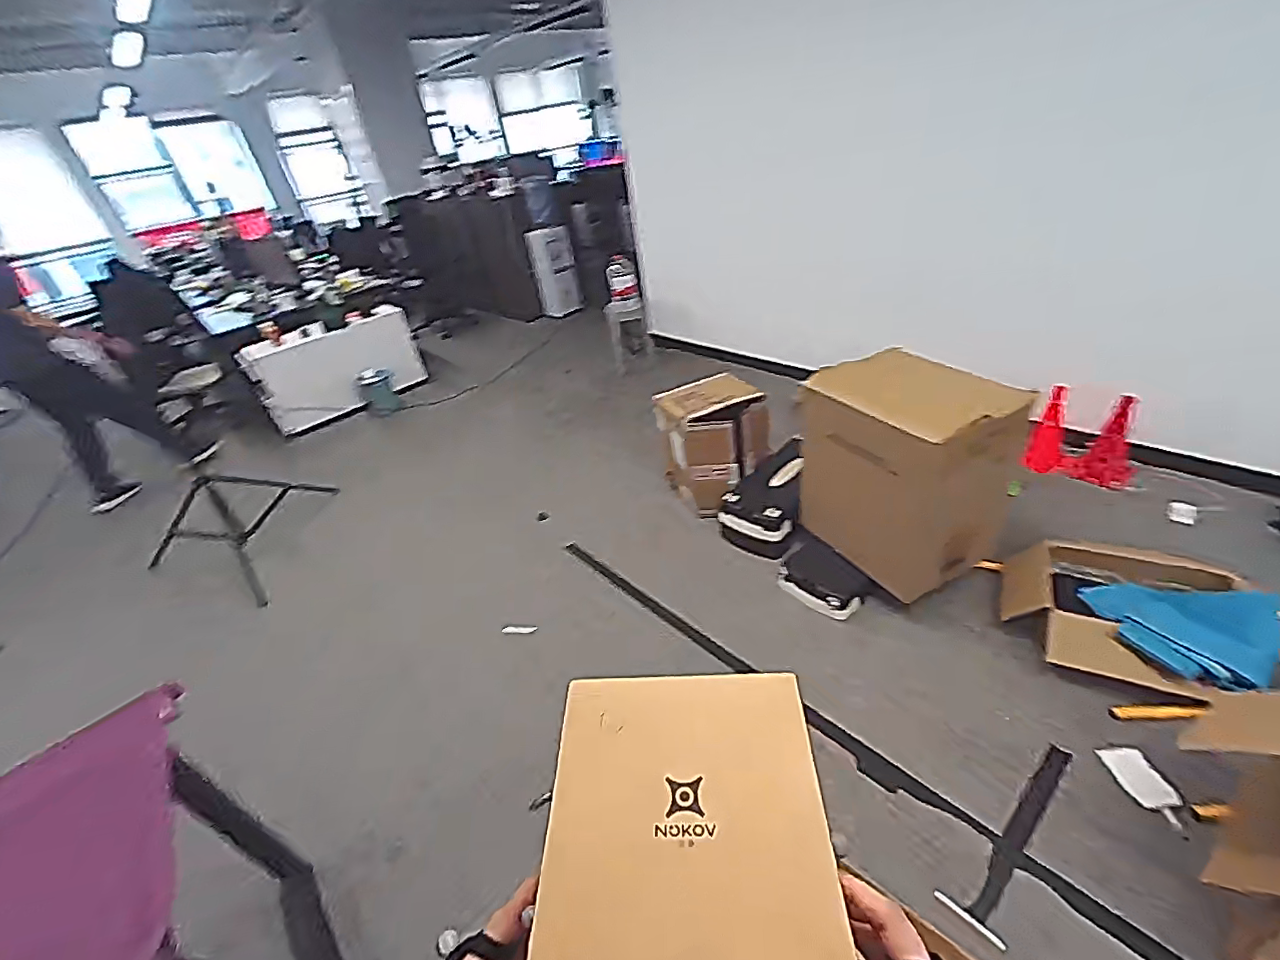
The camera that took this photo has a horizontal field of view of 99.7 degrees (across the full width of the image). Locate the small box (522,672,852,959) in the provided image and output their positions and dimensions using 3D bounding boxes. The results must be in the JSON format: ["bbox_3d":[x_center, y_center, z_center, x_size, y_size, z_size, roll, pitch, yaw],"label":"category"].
[{"bbox_3d":[0.031,0.258,0.371,0.168,0.176,0.179,-4,37,4],"label":"small box"}]
